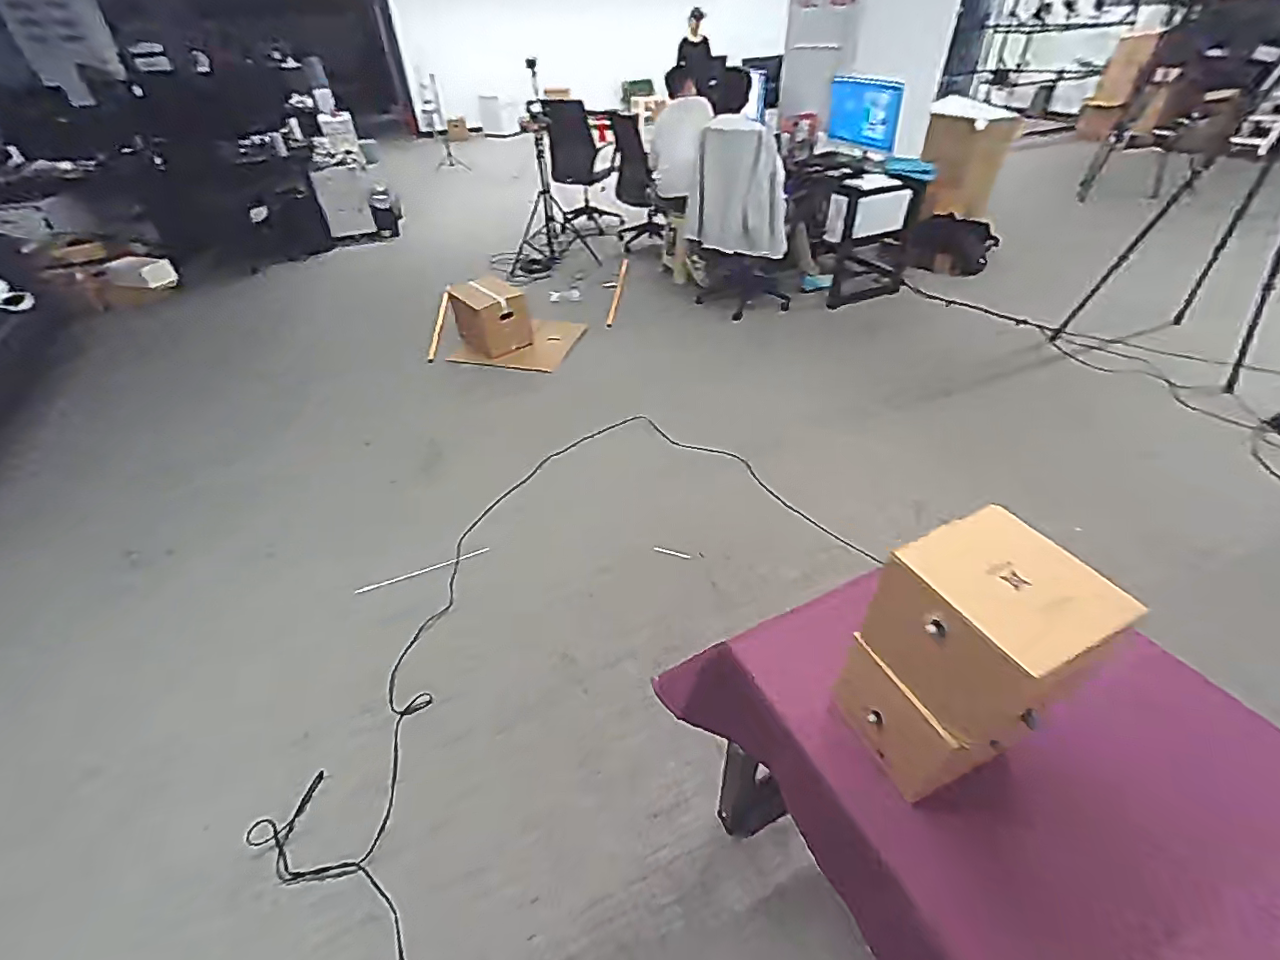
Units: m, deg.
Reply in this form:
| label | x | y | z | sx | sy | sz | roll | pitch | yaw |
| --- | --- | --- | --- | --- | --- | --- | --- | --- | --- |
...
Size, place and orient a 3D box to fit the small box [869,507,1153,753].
| label | x | y | z | sx | sy | sz | roll | pitch | yaw |
| --- | --- | --- | --- | --- | --- | --- | --- | --- | --- |
| small box | 0.392 | 0.165 | 0.611 | 0.168 | 0.176 | 0.179 | -19 | 43 | -16 |

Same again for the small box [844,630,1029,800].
| label | x | y | z | sx | sy | sz | roll | pitch | yaw |
| --- | --- | --- | --- | --- | --- | --- | --- | --- | --- |
| small box | 0.396 | 0.287 | 0.720 | 0.179 | 0.176 | 0.168 | -17 | 43 | -16 |
